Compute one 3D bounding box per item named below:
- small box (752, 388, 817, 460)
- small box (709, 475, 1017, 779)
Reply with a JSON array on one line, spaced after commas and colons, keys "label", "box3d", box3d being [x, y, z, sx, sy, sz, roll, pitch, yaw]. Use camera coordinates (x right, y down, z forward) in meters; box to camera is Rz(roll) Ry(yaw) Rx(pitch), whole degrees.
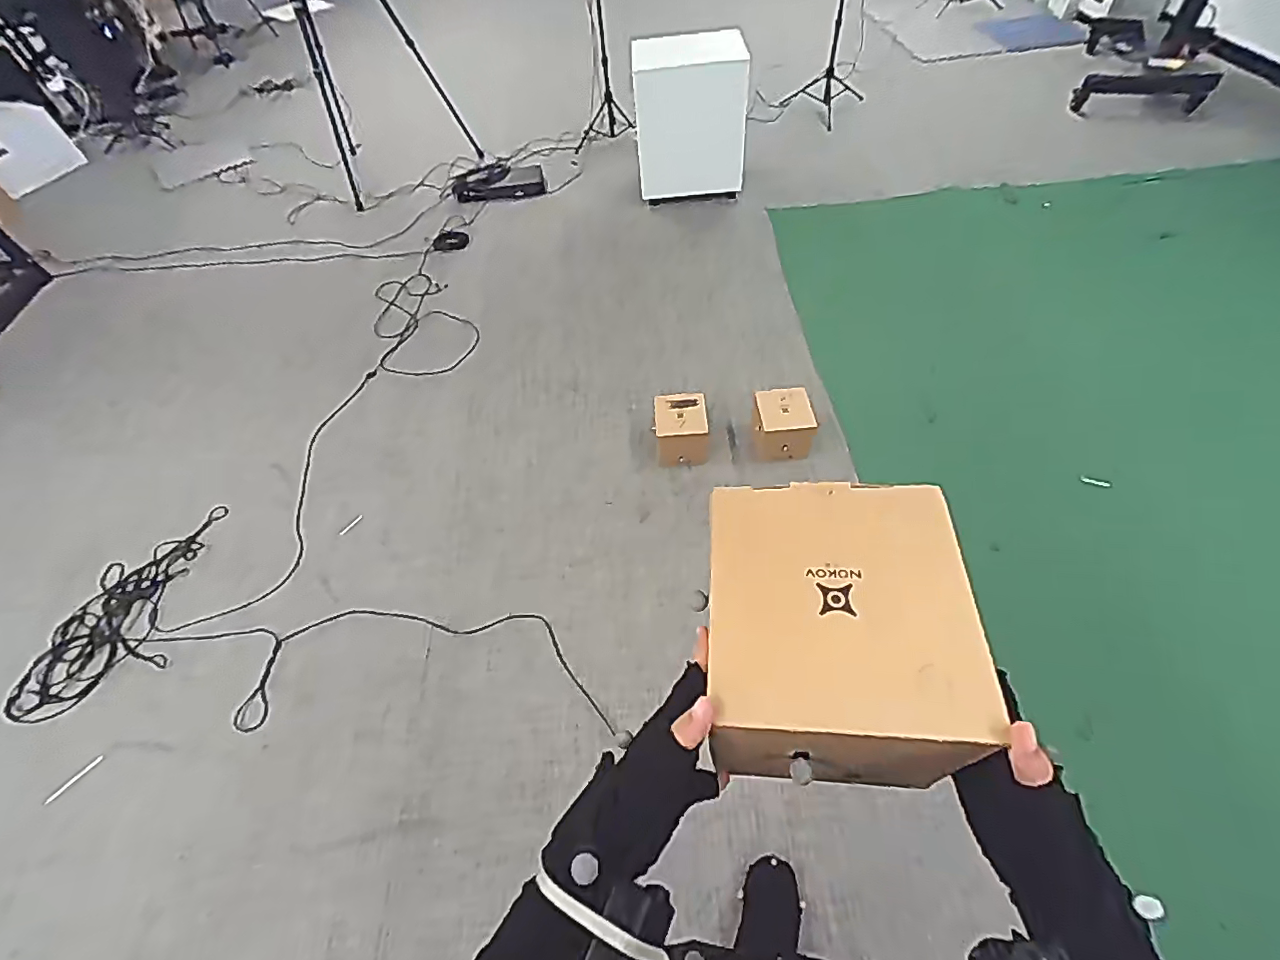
[{"label": "small box", "box3d": [0.471, -0.177, 1.782, 0.168, 0.176, 0.179, -5, 54, 1]}, {"label": "small box", "box3d": [0.141, 0.115, 0.412, 0.168, 0.176, 0.179, -1, 52, 10]}]
